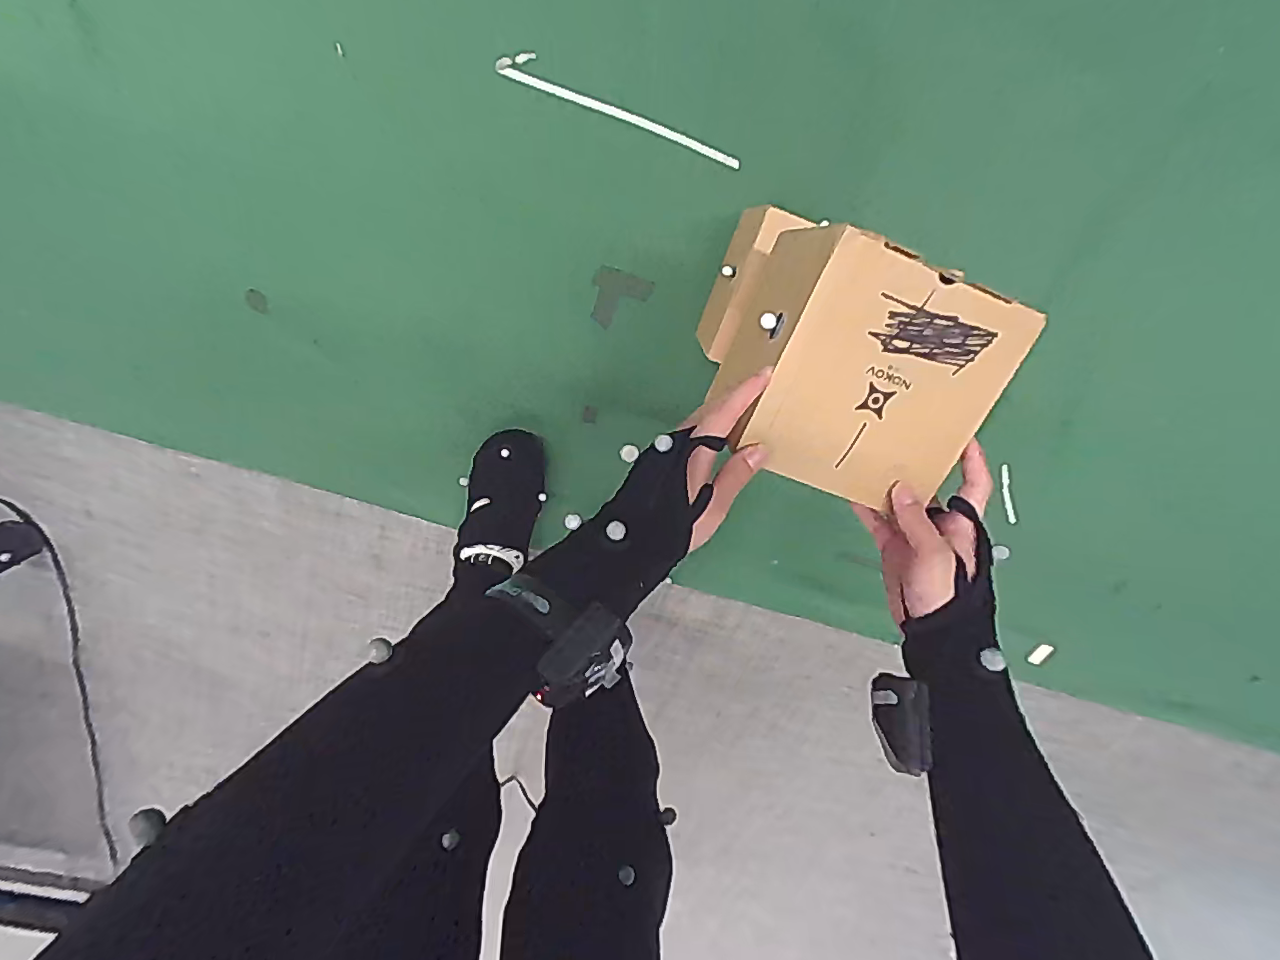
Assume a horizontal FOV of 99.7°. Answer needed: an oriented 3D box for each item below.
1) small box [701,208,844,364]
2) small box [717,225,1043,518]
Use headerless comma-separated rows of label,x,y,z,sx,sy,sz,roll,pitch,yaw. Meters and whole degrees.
small box,0.187,-0.225,0.694,0.168,0.176,0.179,19,113,-9
small box,0.181,-0.100,0.475,0.168,0.176,0.179,20,111,-10
